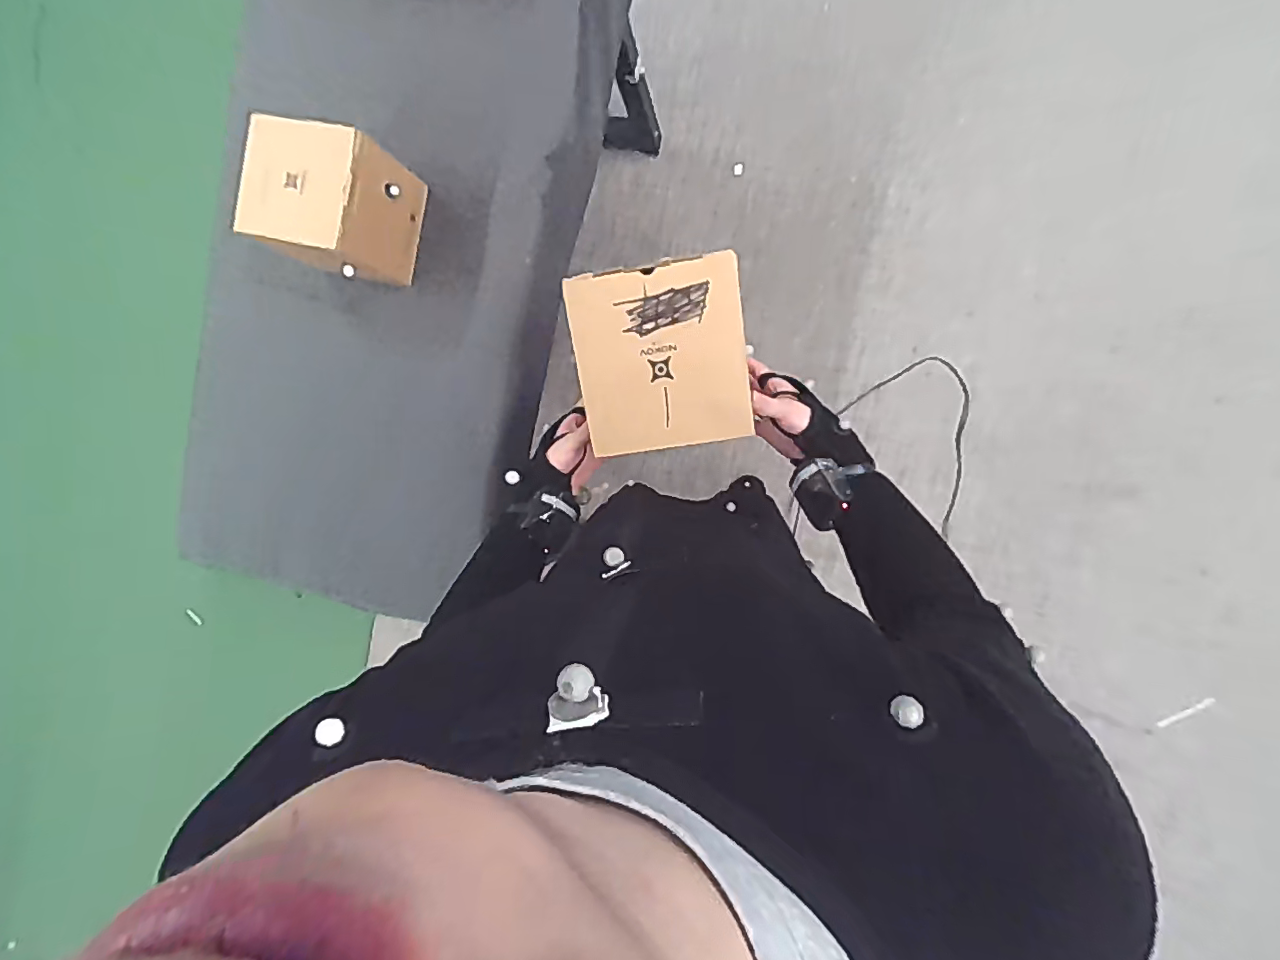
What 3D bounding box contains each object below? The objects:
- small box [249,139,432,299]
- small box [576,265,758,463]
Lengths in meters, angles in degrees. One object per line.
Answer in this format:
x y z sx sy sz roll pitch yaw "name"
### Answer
-0.455 -0.394 0.843 0.179 0.176 0.168 13 93 12 "small box"
0.033 -0.129 0.611 0.168 0.176 0.179 -7 105 6 "small box"
